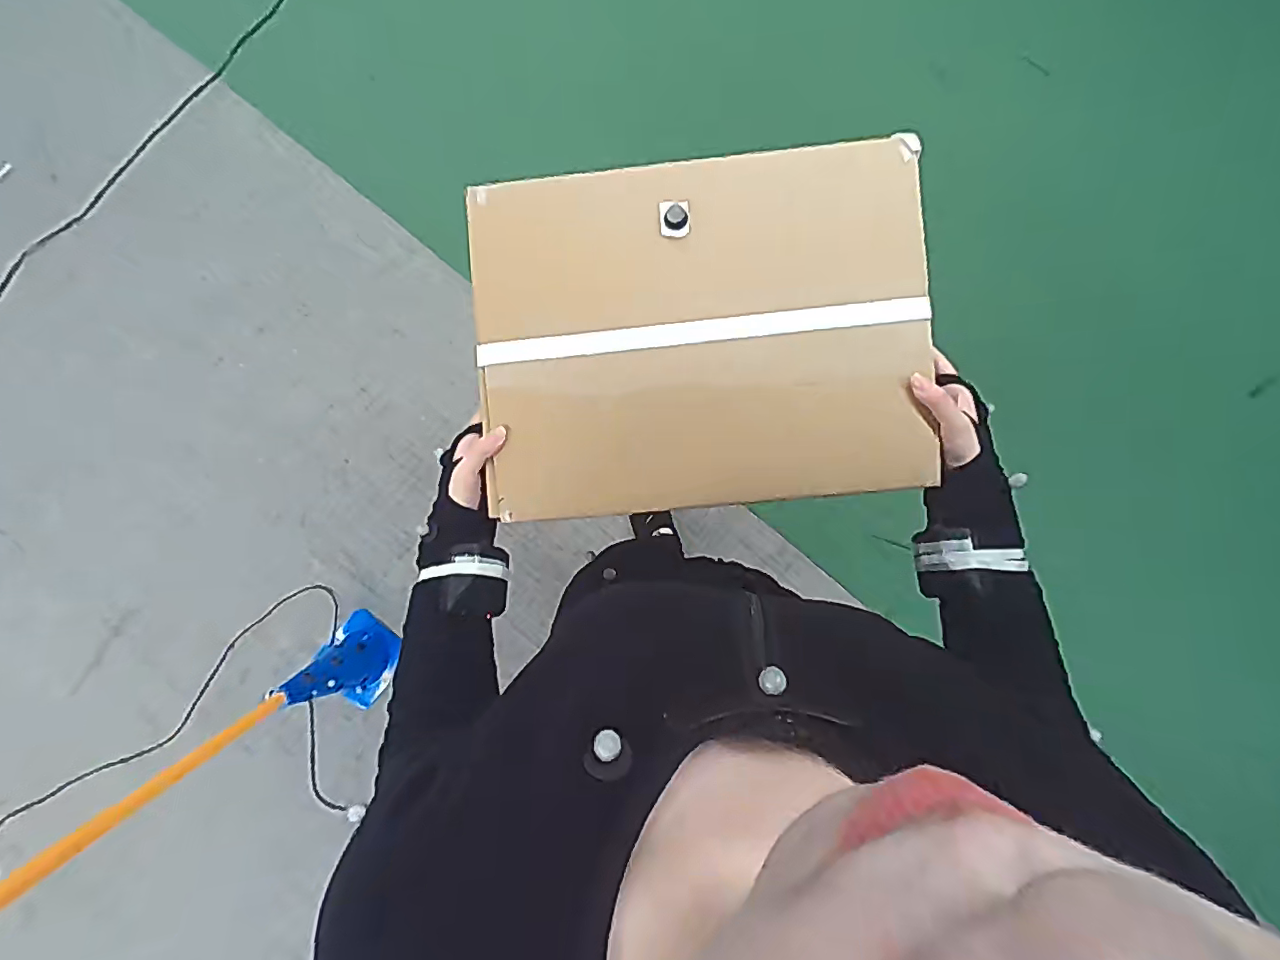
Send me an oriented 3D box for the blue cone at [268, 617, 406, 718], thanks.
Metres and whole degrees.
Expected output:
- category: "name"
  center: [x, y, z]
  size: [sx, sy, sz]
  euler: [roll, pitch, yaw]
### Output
- category: "blue cone"
  center: [-0.723, 0.460, 1.252]
  size: [0.193, 0.380, 0.192]
  euler: [37, 84, 0]
